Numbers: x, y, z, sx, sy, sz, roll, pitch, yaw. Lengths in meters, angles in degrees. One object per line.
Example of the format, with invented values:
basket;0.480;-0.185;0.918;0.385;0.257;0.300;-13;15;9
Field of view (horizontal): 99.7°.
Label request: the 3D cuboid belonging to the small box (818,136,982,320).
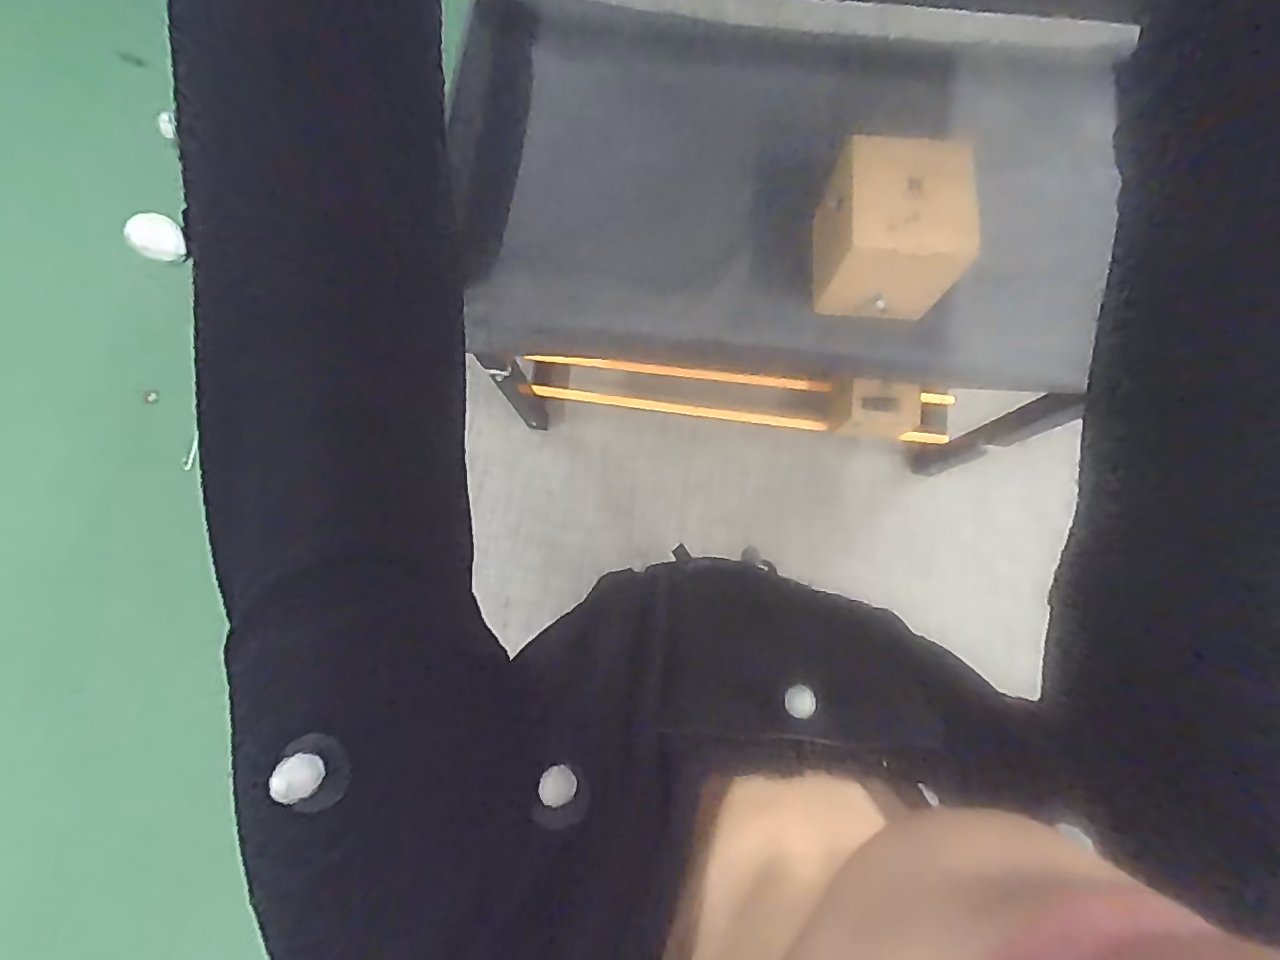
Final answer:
small box;0.367;-0.361;0.794;0.168;0.176;0.179;4;77;2
